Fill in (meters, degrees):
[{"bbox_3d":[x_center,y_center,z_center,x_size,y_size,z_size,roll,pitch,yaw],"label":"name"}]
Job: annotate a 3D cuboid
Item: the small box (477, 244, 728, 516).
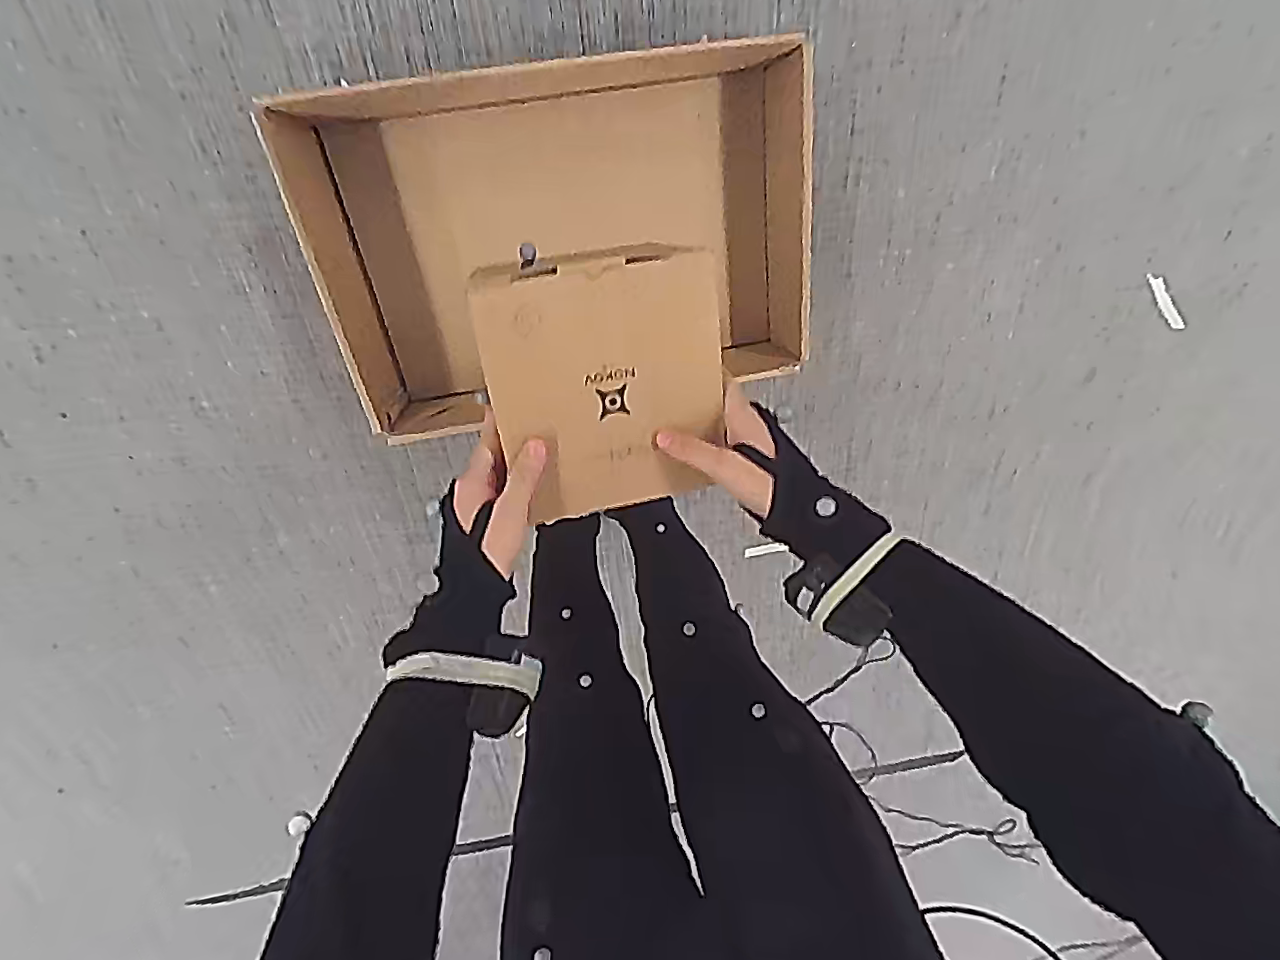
[{"bbox_3d":[-0.035,-0.098,0.457,0.168,0.176,0.179,-12,118,-8],"label":"small box"}]
